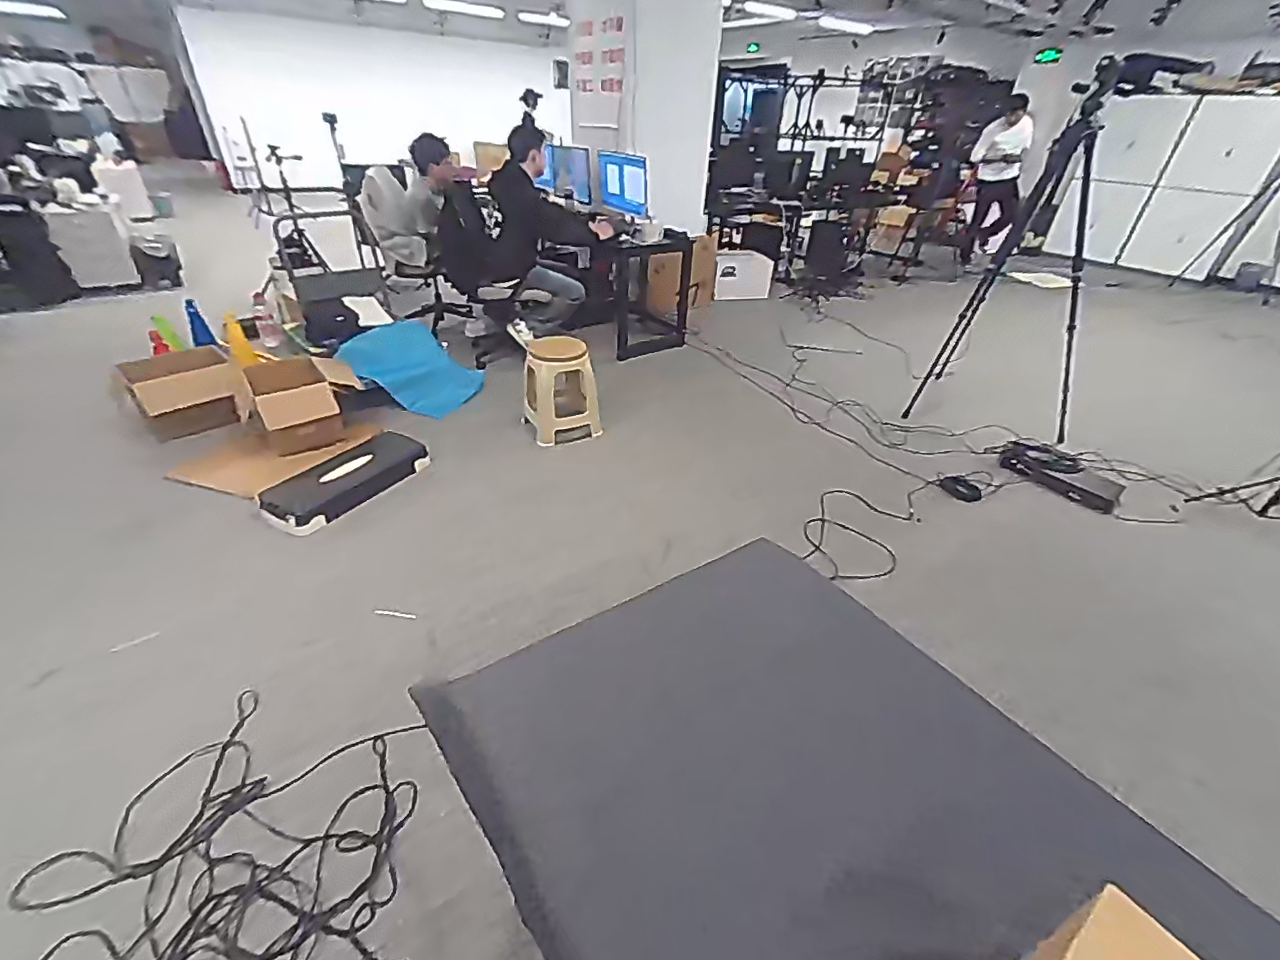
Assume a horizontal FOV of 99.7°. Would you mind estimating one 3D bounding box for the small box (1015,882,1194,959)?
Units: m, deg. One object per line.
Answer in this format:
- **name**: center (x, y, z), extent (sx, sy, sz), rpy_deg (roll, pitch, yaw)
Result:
- **small box**: center (0.352, 0.460, 0.391), extent (0.179, 0.176, 0.168), rpy_deg (-14, 37, -34)
